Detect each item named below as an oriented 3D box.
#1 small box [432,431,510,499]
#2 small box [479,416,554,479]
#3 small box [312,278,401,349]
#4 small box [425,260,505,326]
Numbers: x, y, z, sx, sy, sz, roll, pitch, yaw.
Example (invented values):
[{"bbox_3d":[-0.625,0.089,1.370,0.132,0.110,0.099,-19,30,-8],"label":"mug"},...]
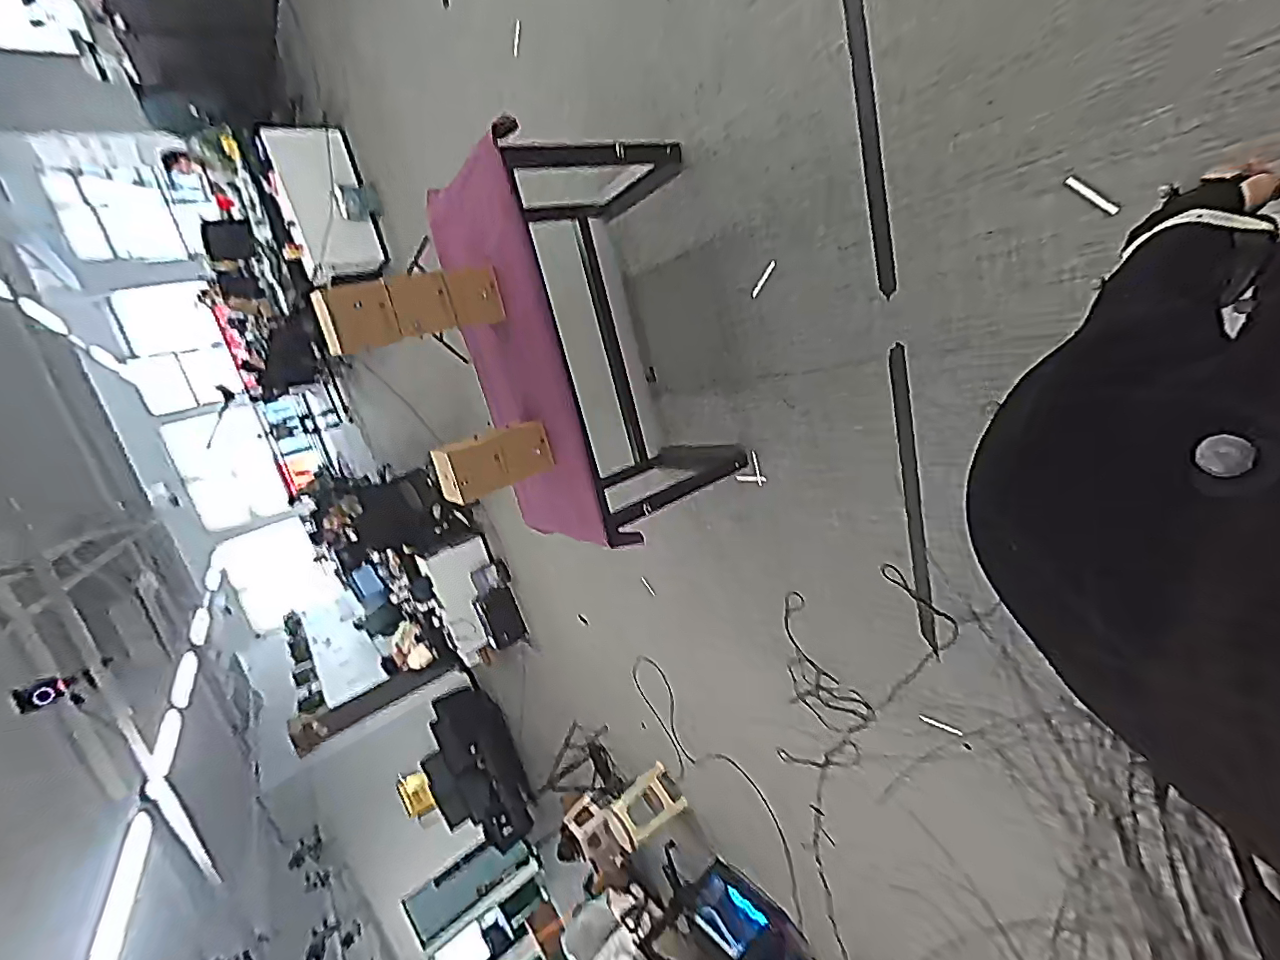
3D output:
[{"bbox_3d":[-0.539,-0.055,1.729,0.179,0.176,0.168,10,118,53],"label":"small box"},{"bbox_3d":[-0.412,-0.112,1.817,0.179,0.176,0.168,8,116,52],"label":"small box"},{"bbox_3d":[-0.799,-0.472,1.533,0.179,0.176,0.168,17,123,51],"label":"small box"},{"bbox_3d":[-0.552,-0.589,1.711,0.179,0.176,0.168,14,122,51],"label":"small box"}]
